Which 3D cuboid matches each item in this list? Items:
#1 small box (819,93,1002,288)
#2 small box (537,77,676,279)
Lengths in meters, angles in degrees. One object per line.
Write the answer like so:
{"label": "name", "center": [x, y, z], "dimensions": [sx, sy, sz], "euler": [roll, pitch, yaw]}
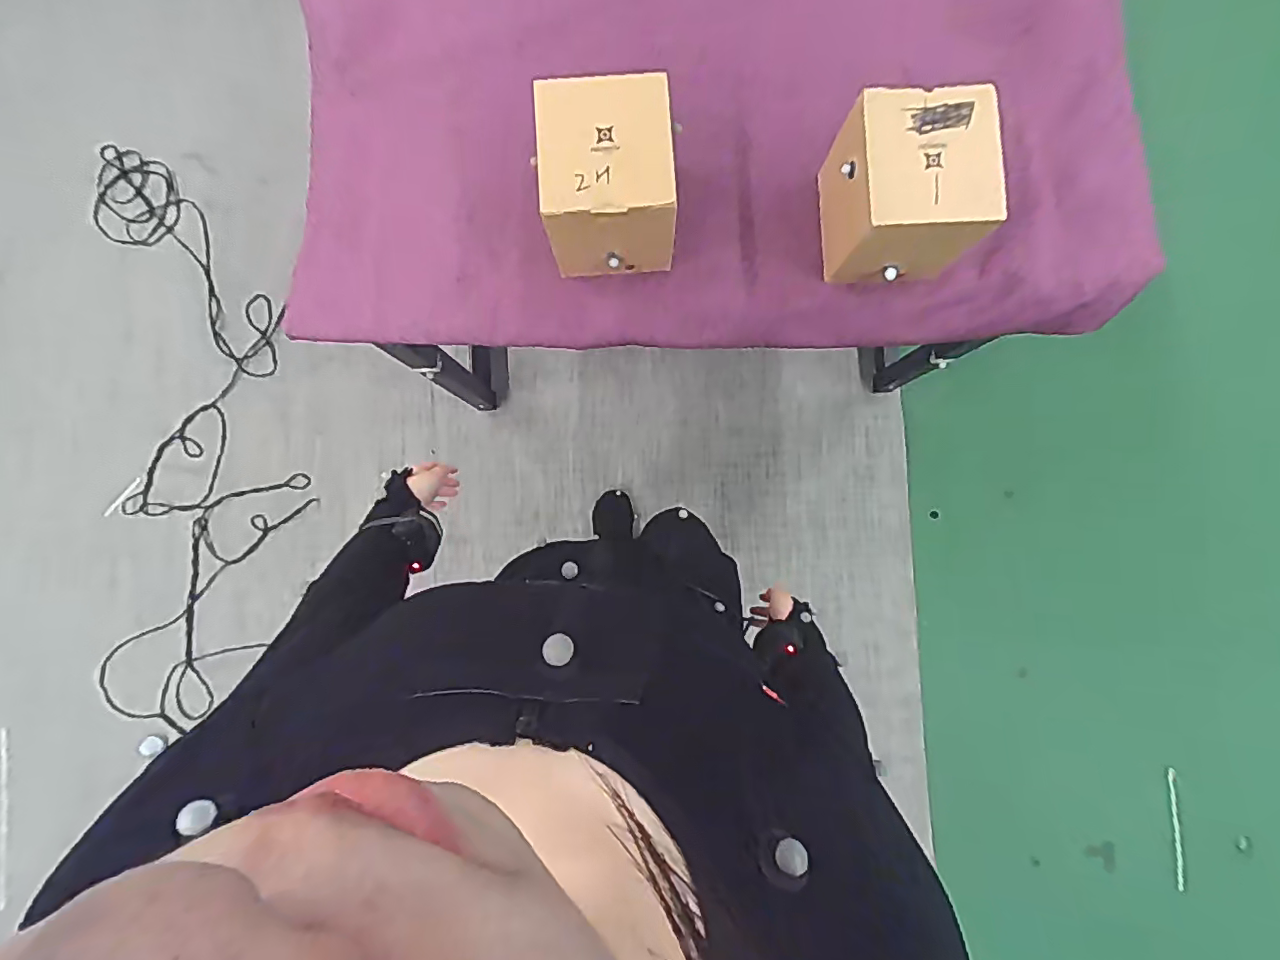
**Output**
{"label": "small box", "center": [0.352, -0.382, 0.737], "dimensions": [0.168, 0.176, 0.179], "euler": [-2, 86, 0]}
{"label": "small box", "center": [-0.043, -0.396, 0.733], "dimensions": [0.168, 0.176, 0.179], "euler": [-4, 85, 0]}
